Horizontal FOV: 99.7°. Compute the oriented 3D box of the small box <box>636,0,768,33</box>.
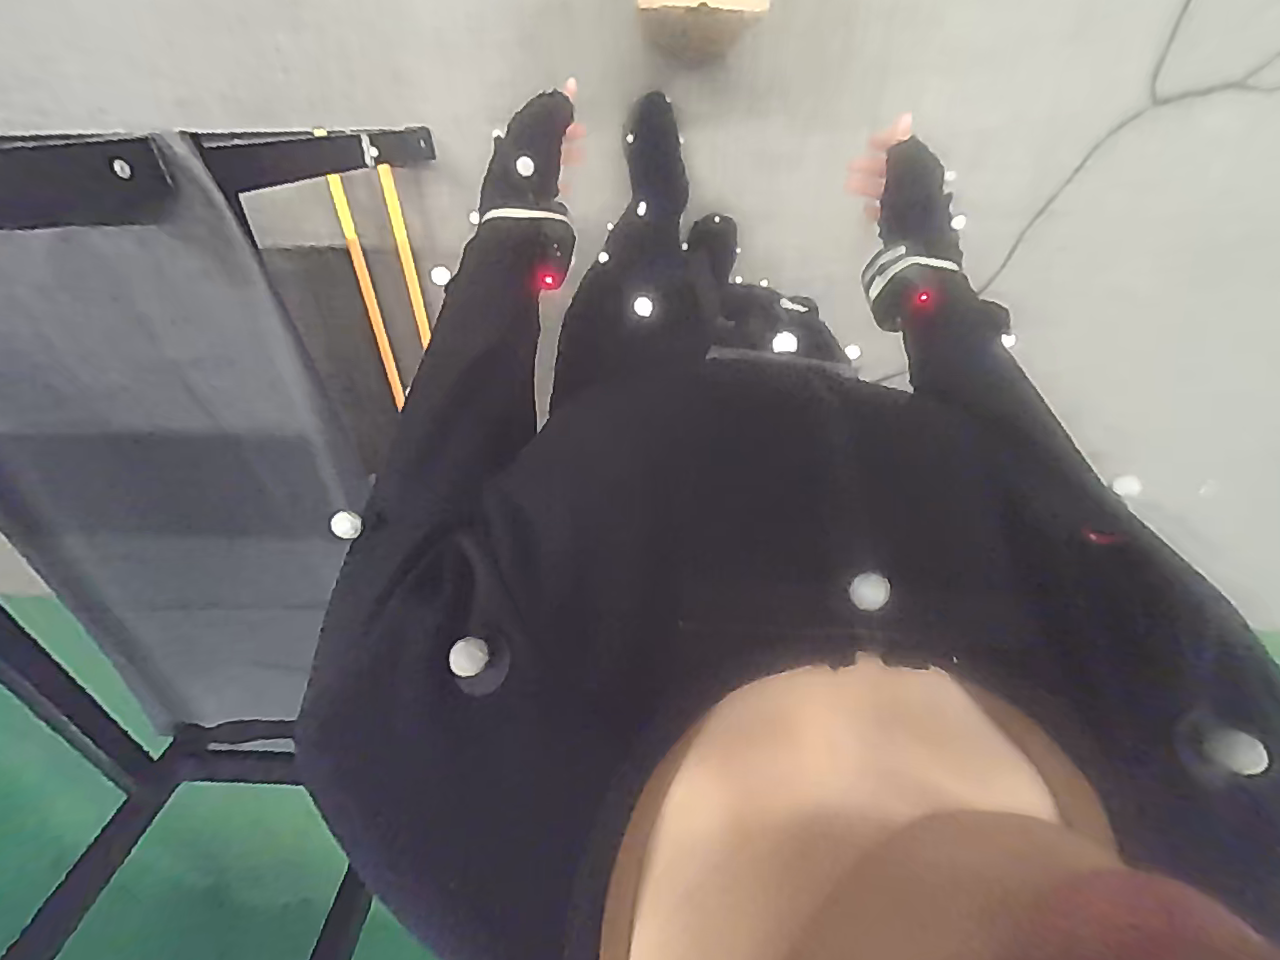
[{"bbox_3d":[0.086,-0.698,0.694,0.168,0.176,0.179,4,124,0],"label":"small box"}]
